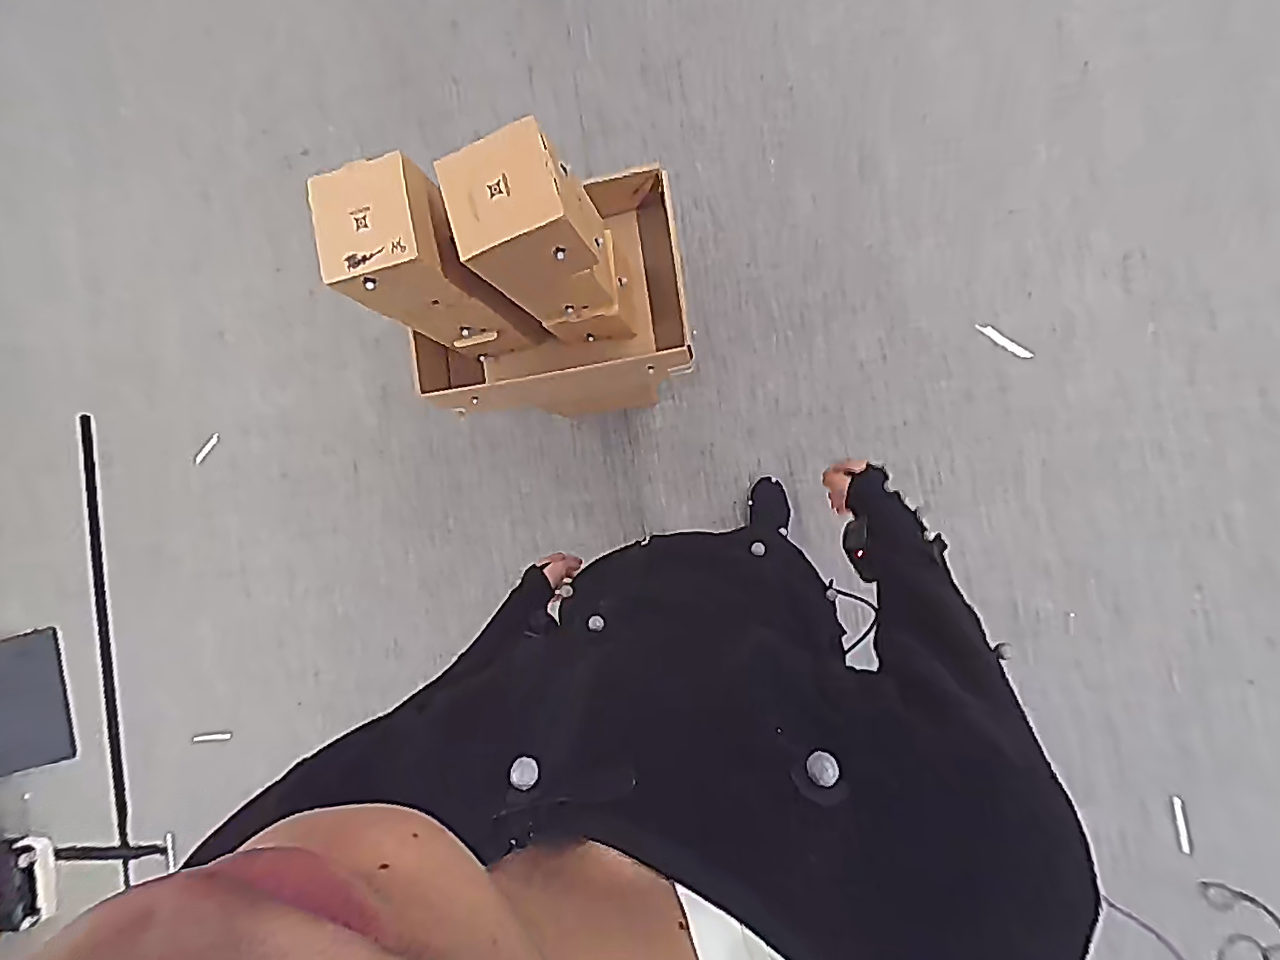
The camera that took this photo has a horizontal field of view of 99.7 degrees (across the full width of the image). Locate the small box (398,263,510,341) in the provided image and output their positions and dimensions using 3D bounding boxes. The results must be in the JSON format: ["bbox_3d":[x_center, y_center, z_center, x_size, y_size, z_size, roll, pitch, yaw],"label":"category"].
[{"bbox_3d":[-0.372,-0.393,1.059,0.168,0.176,0.179,-11,87,10],"label":"small box"}]

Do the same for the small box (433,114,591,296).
[{"bbox_3d":[-0.189,-0.422,0.861,0.179,0.176,0.168,-18,84,12],"label":"small box"}]

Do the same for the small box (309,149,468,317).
[{"bbox_3d":[-0.407,-0.397,0.897,0.168,0.176,0.179,-11,86,11],"label":"small box"}]

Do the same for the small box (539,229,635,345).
[{"bbox_3d":[-0.113,-0.412,1.181,0.168,0.176,0.179,-6,88,13],"label":"small box"}]
